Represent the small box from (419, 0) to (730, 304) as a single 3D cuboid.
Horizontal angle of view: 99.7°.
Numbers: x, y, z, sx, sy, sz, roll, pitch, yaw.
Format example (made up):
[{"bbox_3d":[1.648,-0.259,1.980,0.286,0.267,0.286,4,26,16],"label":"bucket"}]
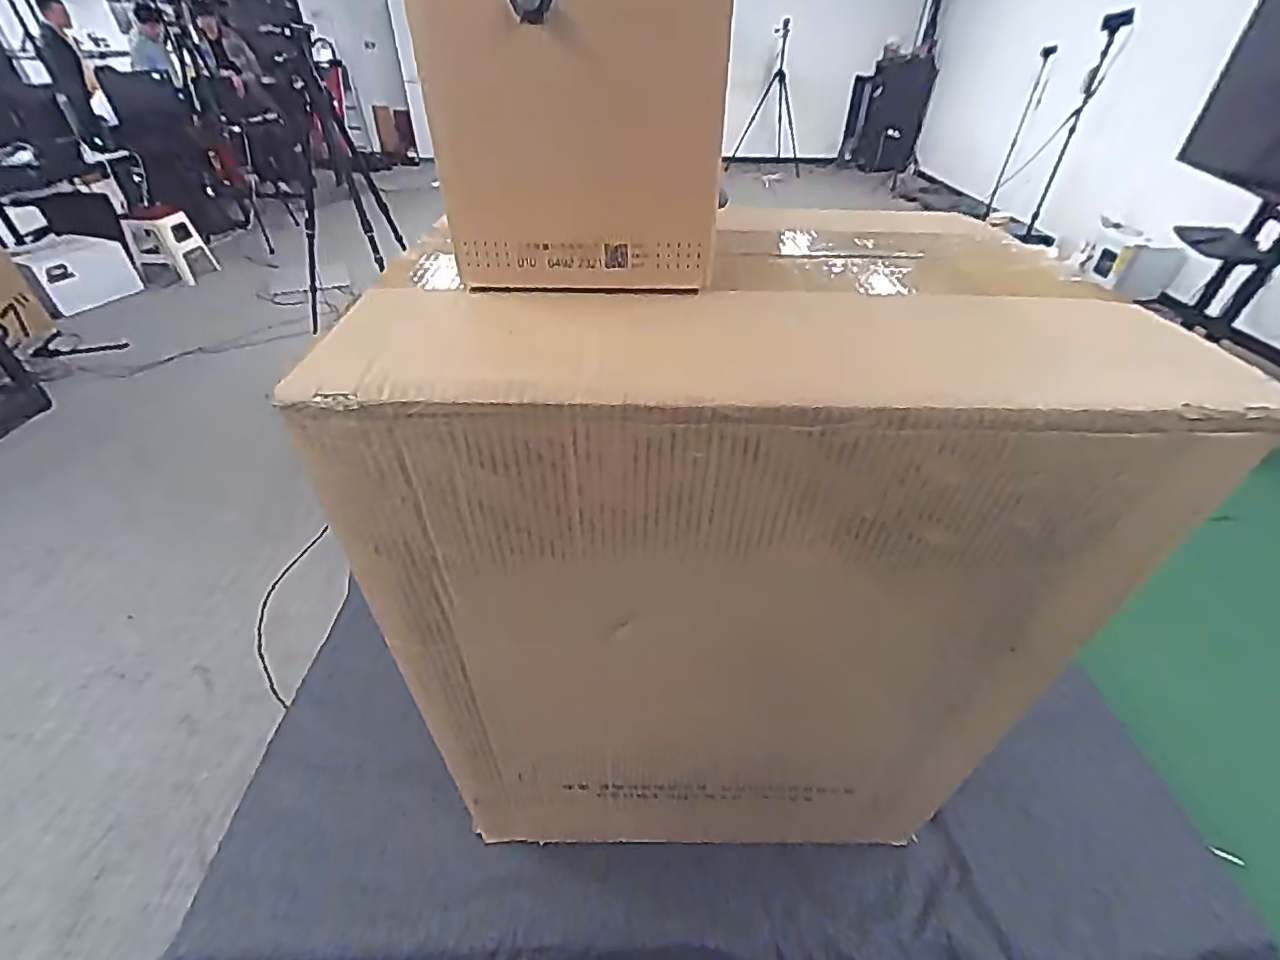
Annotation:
[{"bbox_3d":[-0.035,-0.237,0.383,0.168,0.176,0.179,1,37,1],"label":"small box"}]
